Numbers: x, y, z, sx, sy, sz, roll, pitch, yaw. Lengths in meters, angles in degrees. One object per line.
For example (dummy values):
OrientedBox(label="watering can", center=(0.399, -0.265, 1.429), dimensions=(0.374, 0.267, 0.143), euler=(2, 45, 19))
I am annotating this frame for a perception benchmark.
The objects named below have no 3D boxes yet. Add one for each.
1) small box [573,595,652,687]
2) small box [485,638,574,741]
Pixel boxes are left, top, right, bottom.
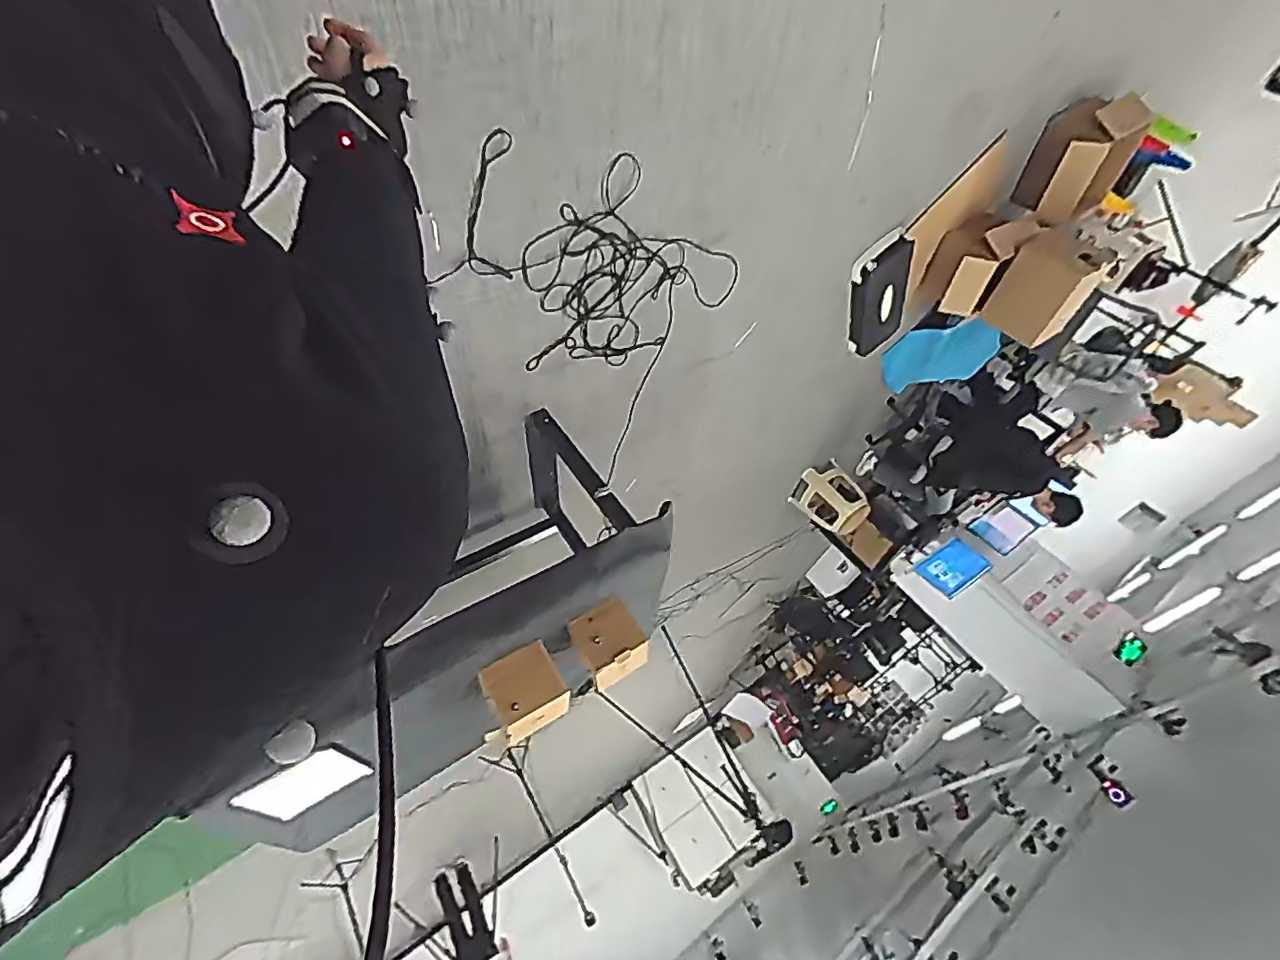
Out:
OrientedBox(label="small box", center=(-0.080, 0.455, 1.550), dimensions=(0.168, 0.176, 0.179), euler=(-27, 149, -19))
OrientedBox(label="small box", center=(-0.295, 0.552, 1.441), dimensions=(0.179, 0.176, 0.168), euler=(-23, 147, -26))
